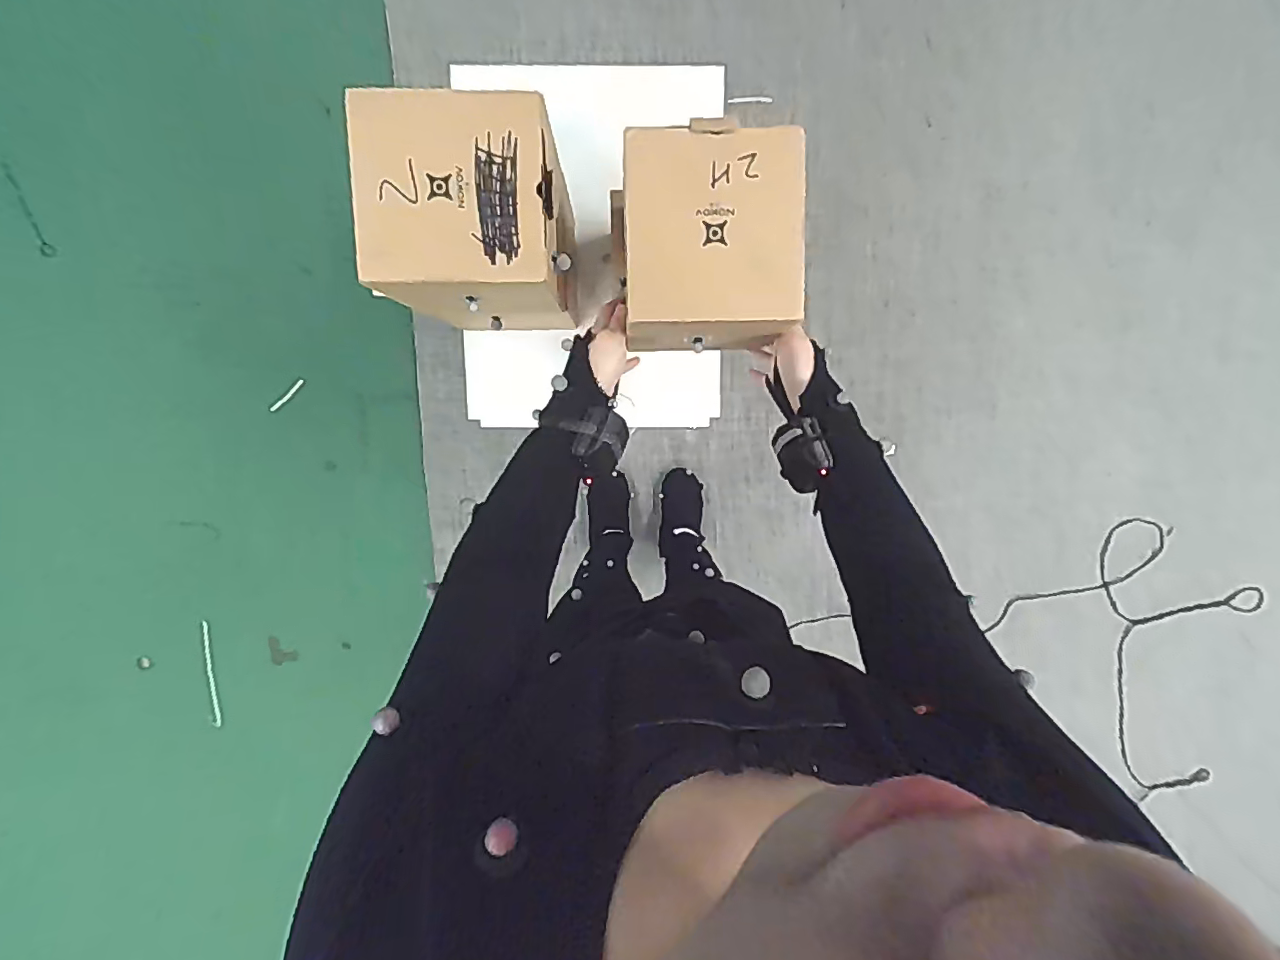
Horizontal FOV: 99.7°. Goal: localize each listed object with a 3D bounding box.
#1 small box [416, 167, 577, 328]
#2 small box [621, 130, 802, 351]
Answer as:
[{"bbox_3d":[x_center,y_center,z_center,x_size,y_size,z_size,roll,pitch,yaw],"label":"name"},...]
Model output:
[{"bbox_3d":[-0.181,-0.302,0.733,0.179,0.176,0.168,-2,98,-3],"label":"small box"},{"bbox_3d":[0.064,-0.236,0.575,0.168,0.176,0.179,-1,94,-2],"label":"small box"}]
